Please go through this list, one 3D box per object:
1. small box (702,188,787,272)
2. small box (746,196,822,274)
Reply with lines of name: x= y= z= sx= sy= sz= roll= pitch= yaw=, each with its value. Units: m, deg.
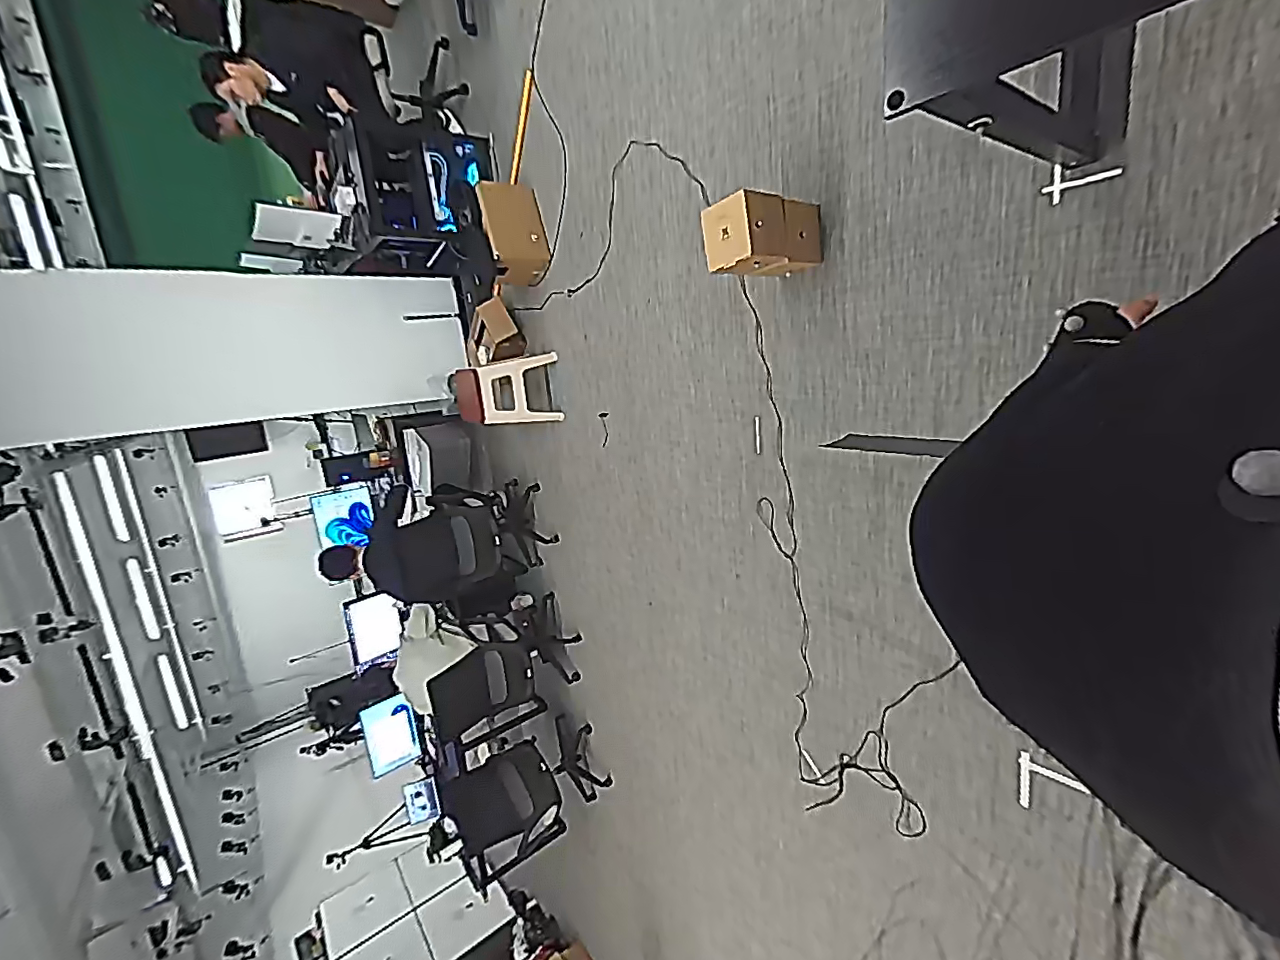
small box: x=0.303 y=-0.707 z=1.546 sx=0.168 sy=0.176 sz=0.179 roll=1 pitch=101 yaw=53
small box: x=0.432 y=-0.735 z=1.641 sx=0.168 sy=0.176 sz=0.179 roll=6 pitch=107 yaw=53
